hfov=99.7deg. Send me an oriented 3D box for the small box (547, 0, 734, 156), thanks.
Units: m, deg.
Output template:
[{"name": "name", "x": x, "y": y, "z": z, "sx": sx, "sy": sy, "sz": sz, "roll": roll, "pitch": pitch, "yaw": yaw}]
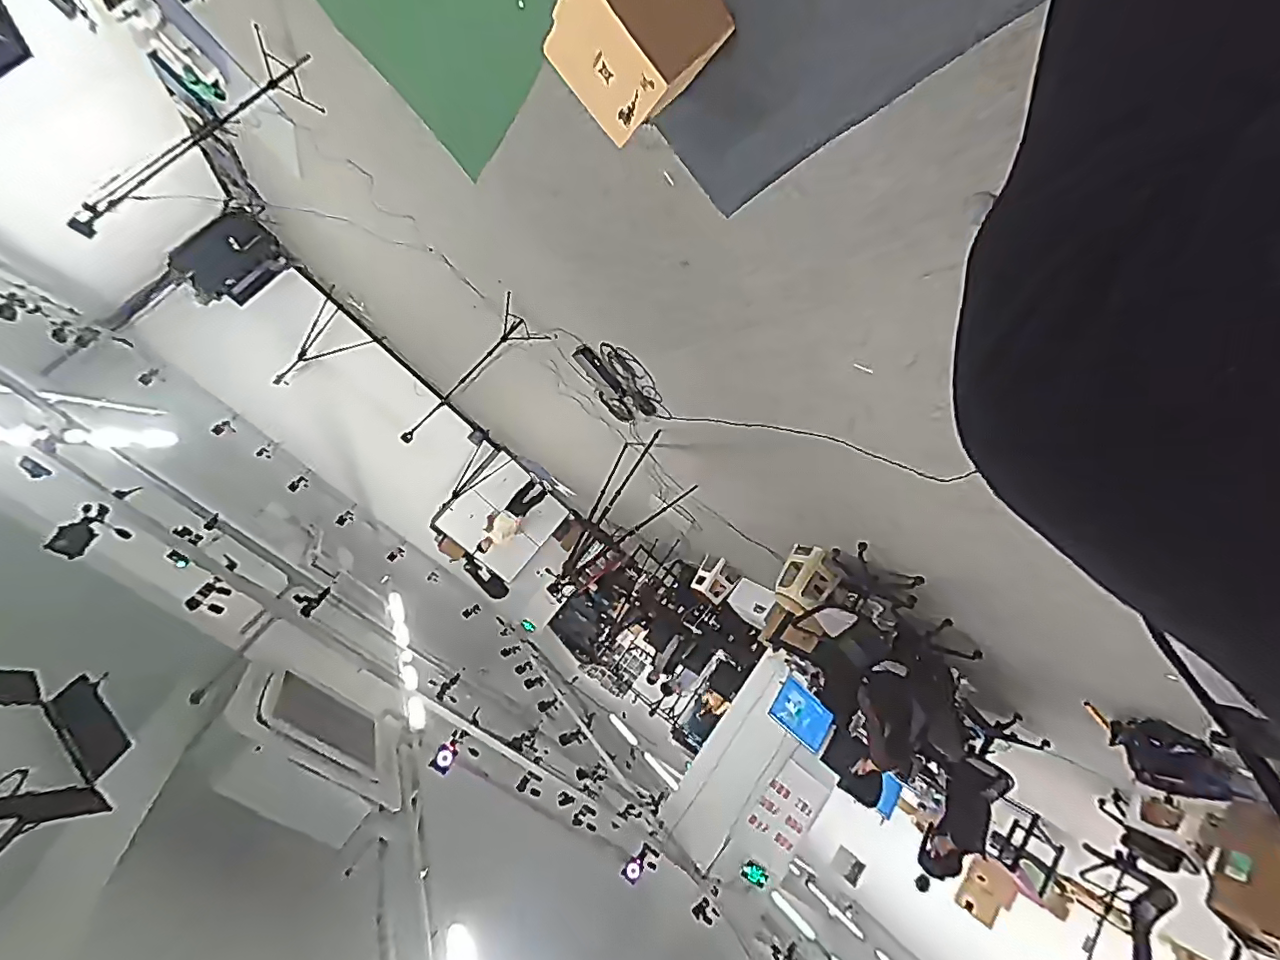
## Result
[{"name": "small box", "x": 0.000, "y": -0.636, "z": 0.795, "sx": 0.179, "sy": 0.176, "sz": 0.168, "roll": 46, "pitch": 164, "yaw": -20}]
